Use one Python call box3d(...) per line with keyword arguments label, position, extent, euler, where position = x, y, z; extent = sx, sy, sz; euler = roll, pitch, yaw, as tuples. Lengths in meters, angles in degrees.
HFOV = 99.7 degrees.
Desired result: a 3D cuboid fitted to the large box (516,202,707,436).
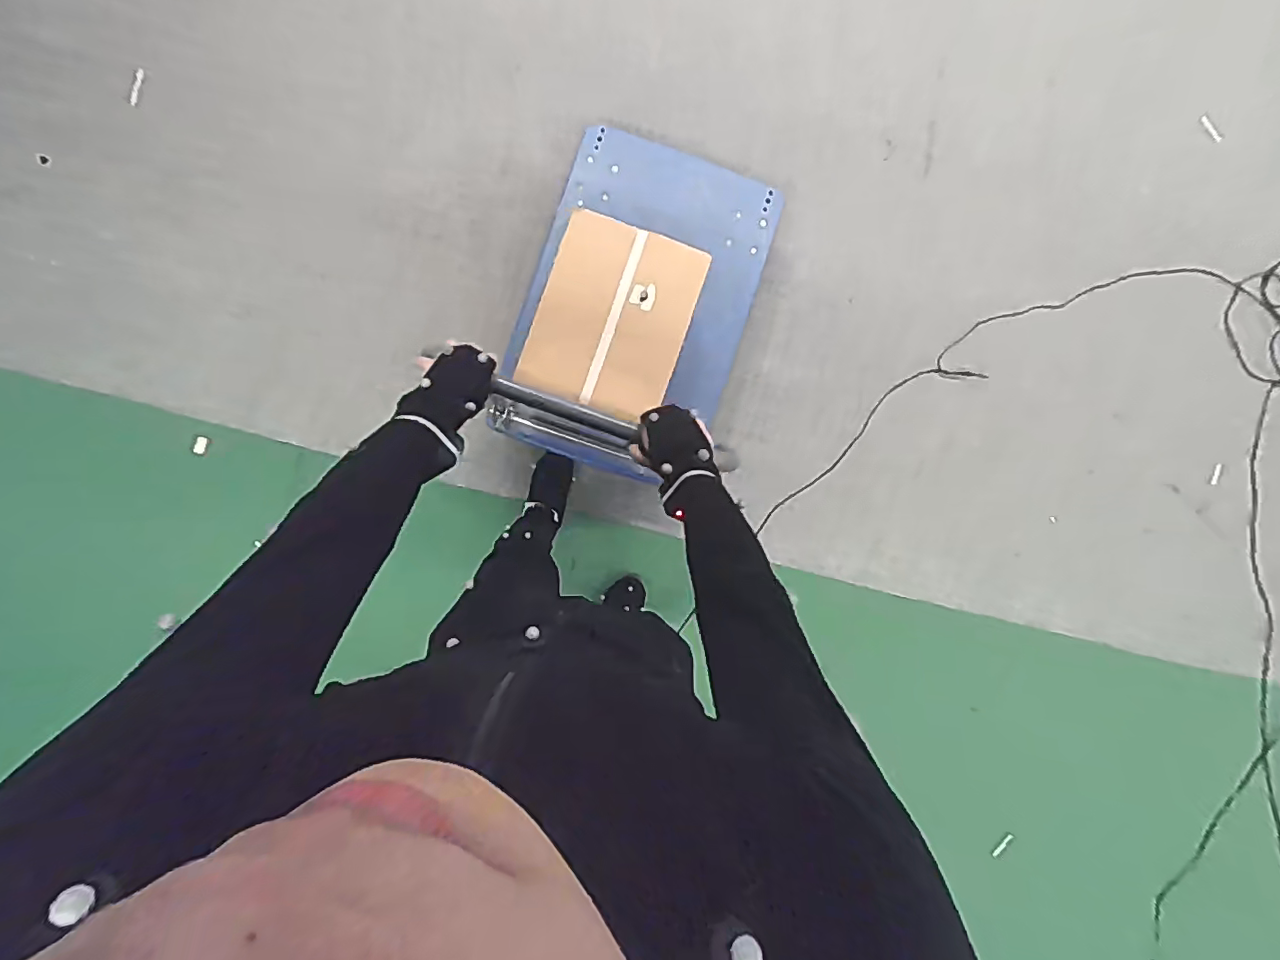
box3d(label="large box", position=(-0.066, -0.353, 1.297), extent=(0.320, 0.320, 0.408), euler=(20, 88, -3))
